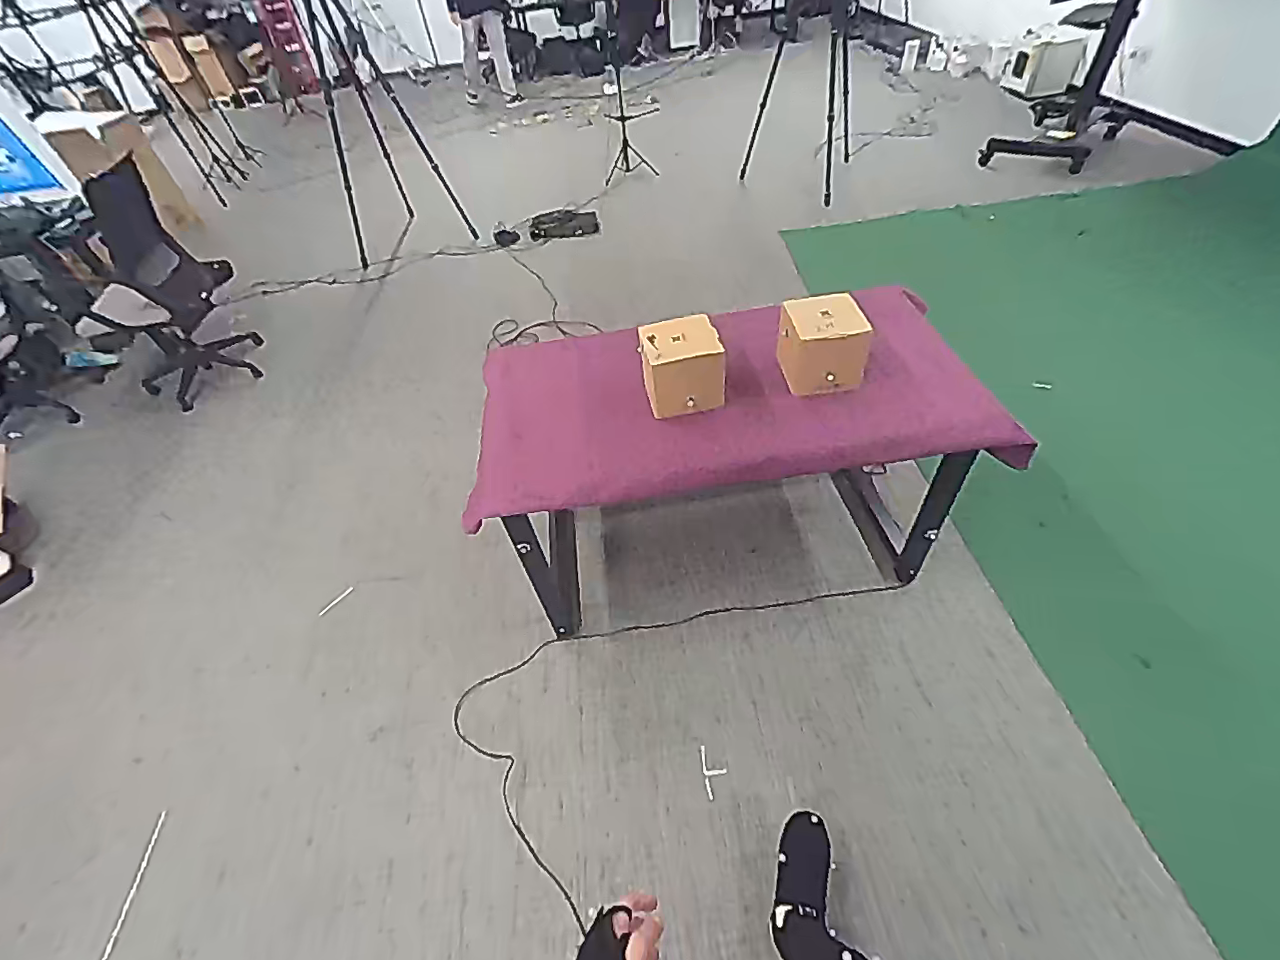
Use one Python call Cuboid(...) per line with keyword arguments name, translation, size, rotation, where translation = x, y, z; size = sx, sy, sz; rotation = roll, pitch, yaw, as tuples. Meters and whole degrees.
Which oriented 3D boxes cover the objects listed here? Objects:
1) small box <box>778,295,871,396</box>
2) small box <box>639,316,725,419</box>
Cuboid(name="small box", translation=(0.443, -0.330, 1.332), size=(0.168, 0.176, 0.179), rotation=(-7, 48, 2))
Cuboid(name="small box", translation=(0.101, -0.274, 1.331), size=(0.179, 0.176, 0.168), rotation=(-11, 47, -2))
